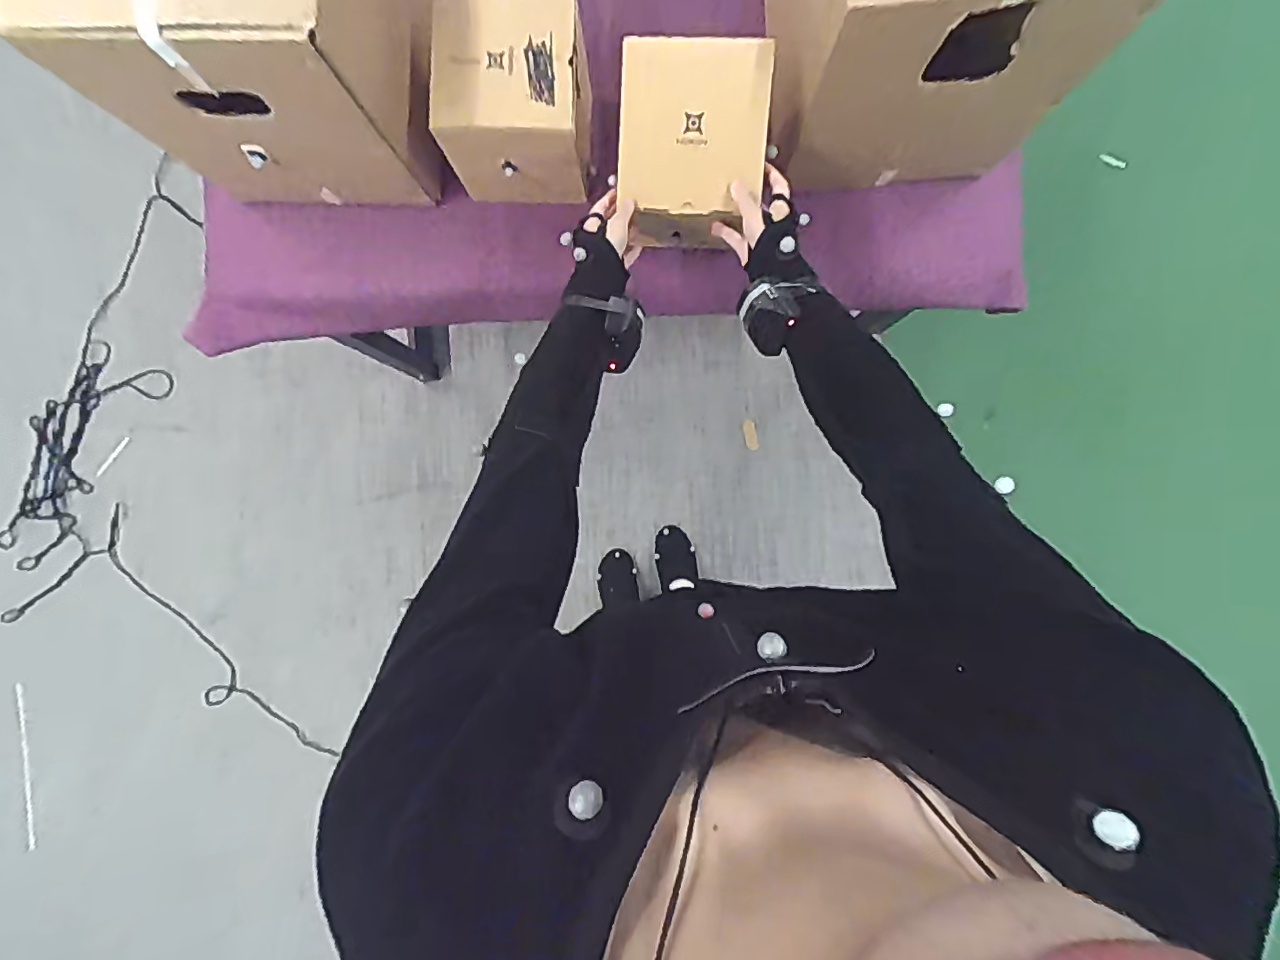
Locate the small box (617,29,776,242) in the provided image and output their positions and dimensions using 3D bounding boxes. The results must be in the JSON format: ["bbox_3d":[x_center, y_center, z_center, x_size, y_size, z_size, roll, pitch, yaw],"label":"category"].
[{"bbox_3d":[0.064,-0.411,0.672,0.168,0.176,0.179,3,102,4],"label":"small box"}]

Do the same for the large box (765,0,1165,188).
[{"bbox_3d":[0.338,-0.638,0.648,0.320,0.320,0.408,-4,89,3],"label":"large box"}]
